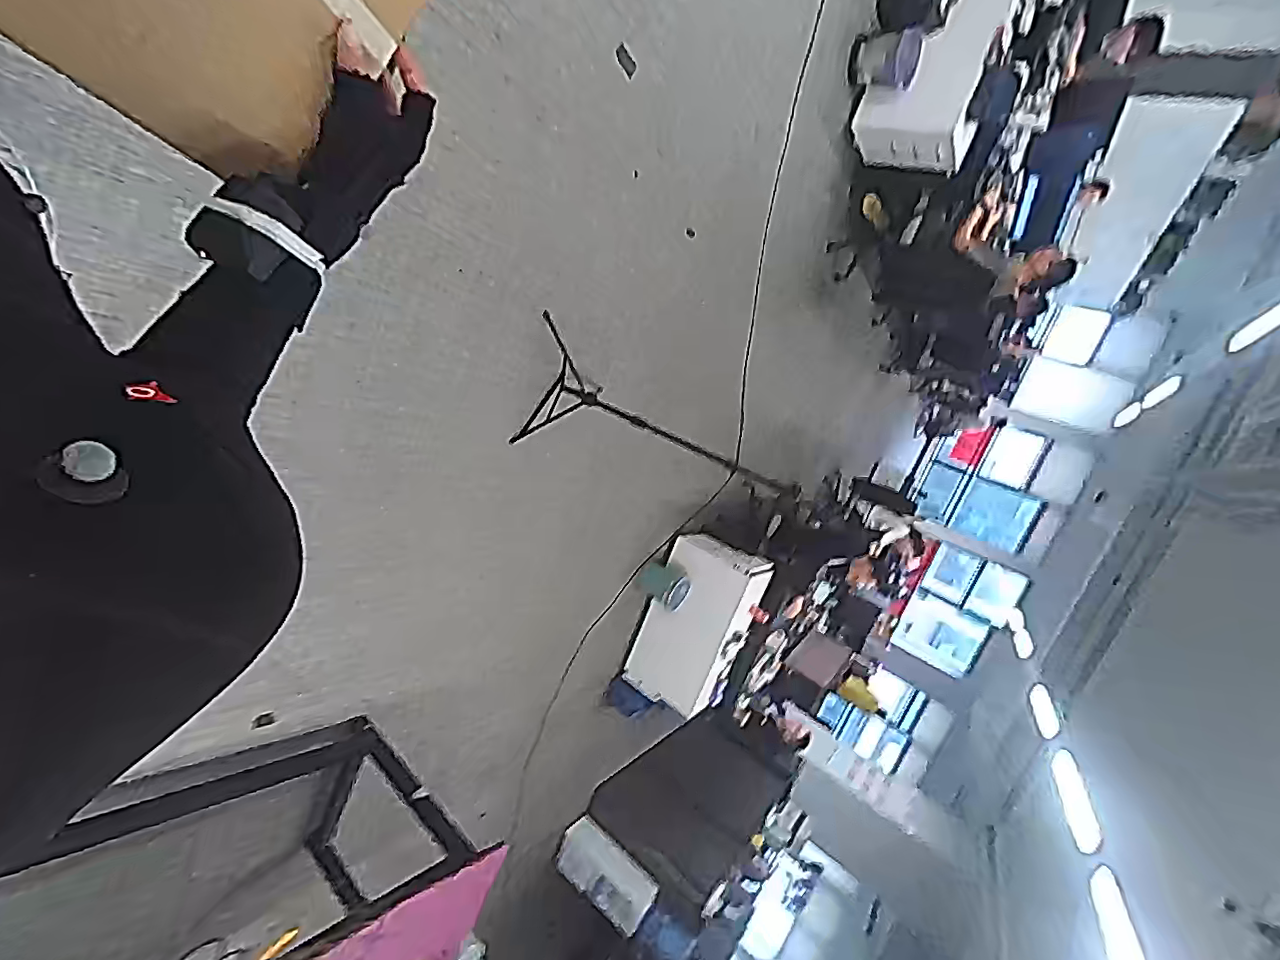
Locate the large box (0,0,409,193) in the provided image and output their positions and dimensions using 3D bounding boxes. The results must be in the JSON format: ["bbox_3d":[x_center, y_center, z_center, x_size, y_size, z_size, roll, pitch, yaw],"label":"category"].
[{"bbox_3d":[-0.394,-0.483,0.330,0.320,0.320,0.408,-50,153,6],"label":"large box"}]
